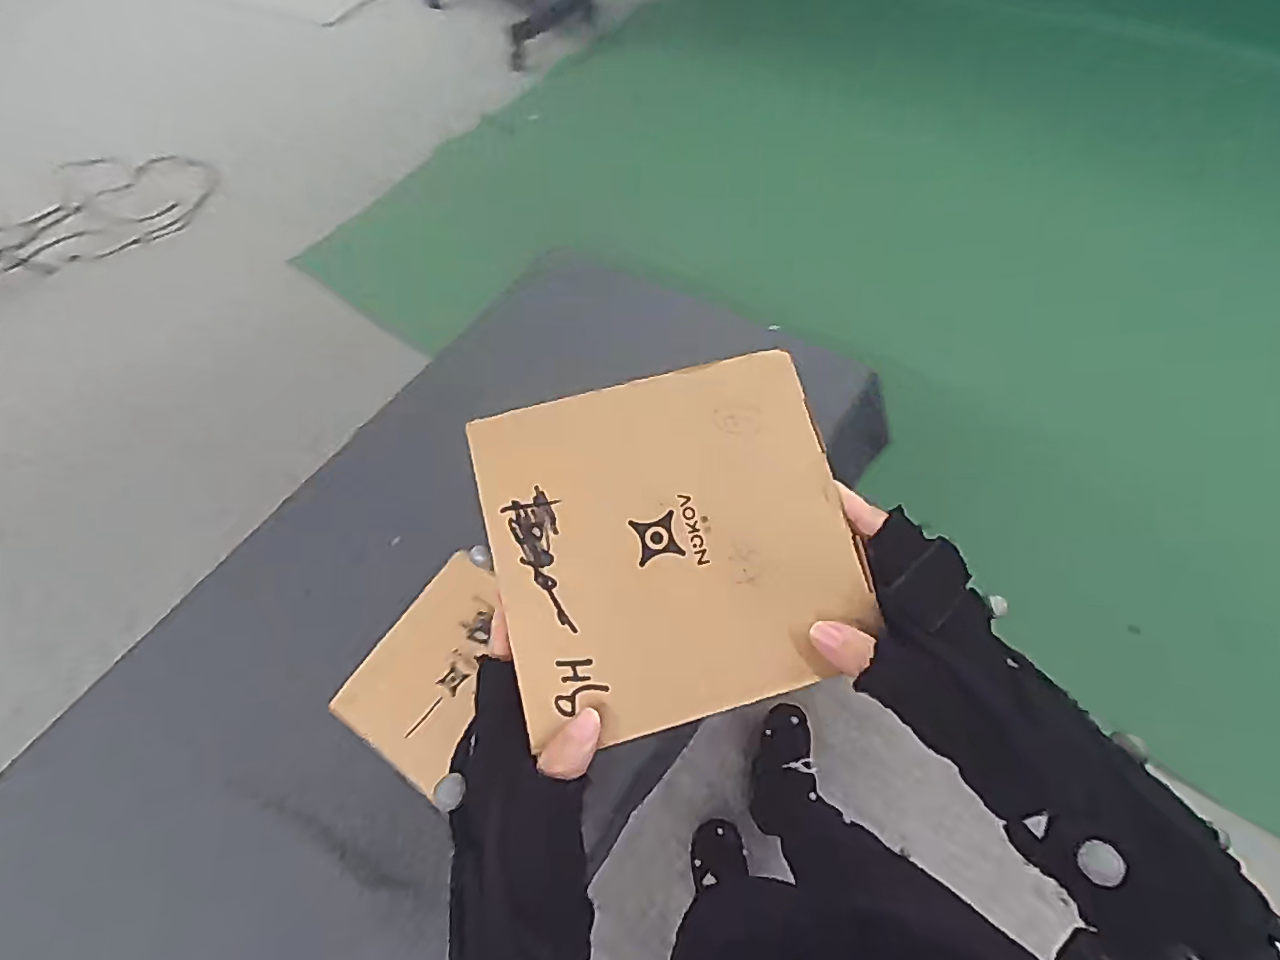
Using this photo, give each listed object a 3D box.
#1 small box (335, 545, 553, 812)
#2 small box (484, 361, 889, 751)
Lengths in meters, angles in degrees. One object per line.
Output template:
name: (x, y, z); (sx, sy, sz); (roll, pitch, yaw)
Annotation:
small box: (-0.157, 0.205, 0.559); (0.168, 0.176, 0.179); (32, 68, 22)
small box: (0.016, 0.047, 0.346); (0.179, 0.176, 0.168); (-12, 77, -6)
